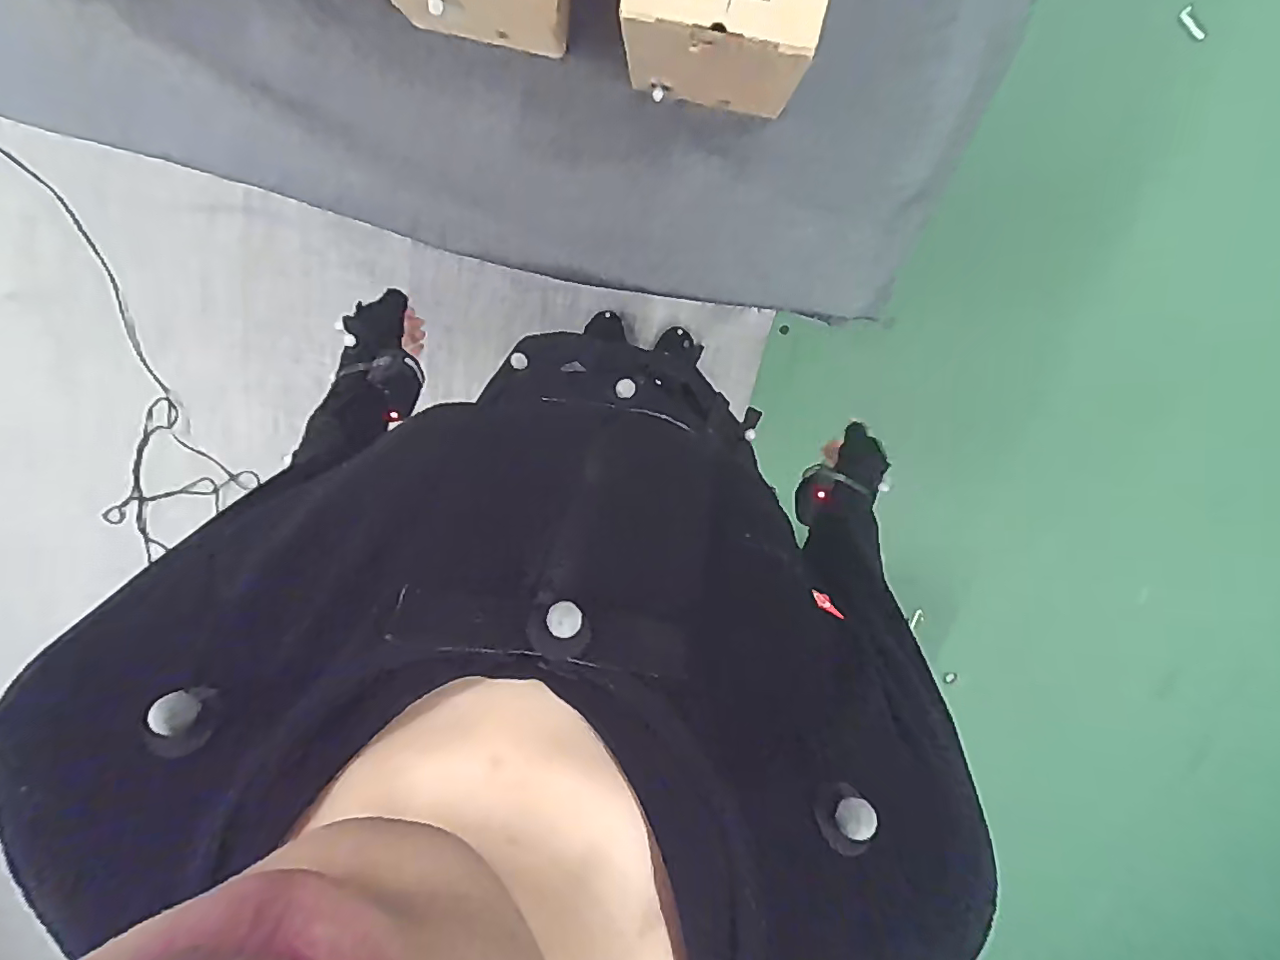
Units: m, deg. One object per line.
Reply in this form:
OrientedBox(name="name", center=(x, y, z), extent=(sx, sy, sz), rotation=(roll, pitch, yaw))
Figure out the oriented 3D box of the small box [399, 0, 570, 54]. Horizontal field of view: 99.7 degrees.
OrientedBox(name="small box", center=(-0.149, -0.522, 0.478), extent=(0.168, 0.176, 0.179), rotation=(12, 108, -1))
